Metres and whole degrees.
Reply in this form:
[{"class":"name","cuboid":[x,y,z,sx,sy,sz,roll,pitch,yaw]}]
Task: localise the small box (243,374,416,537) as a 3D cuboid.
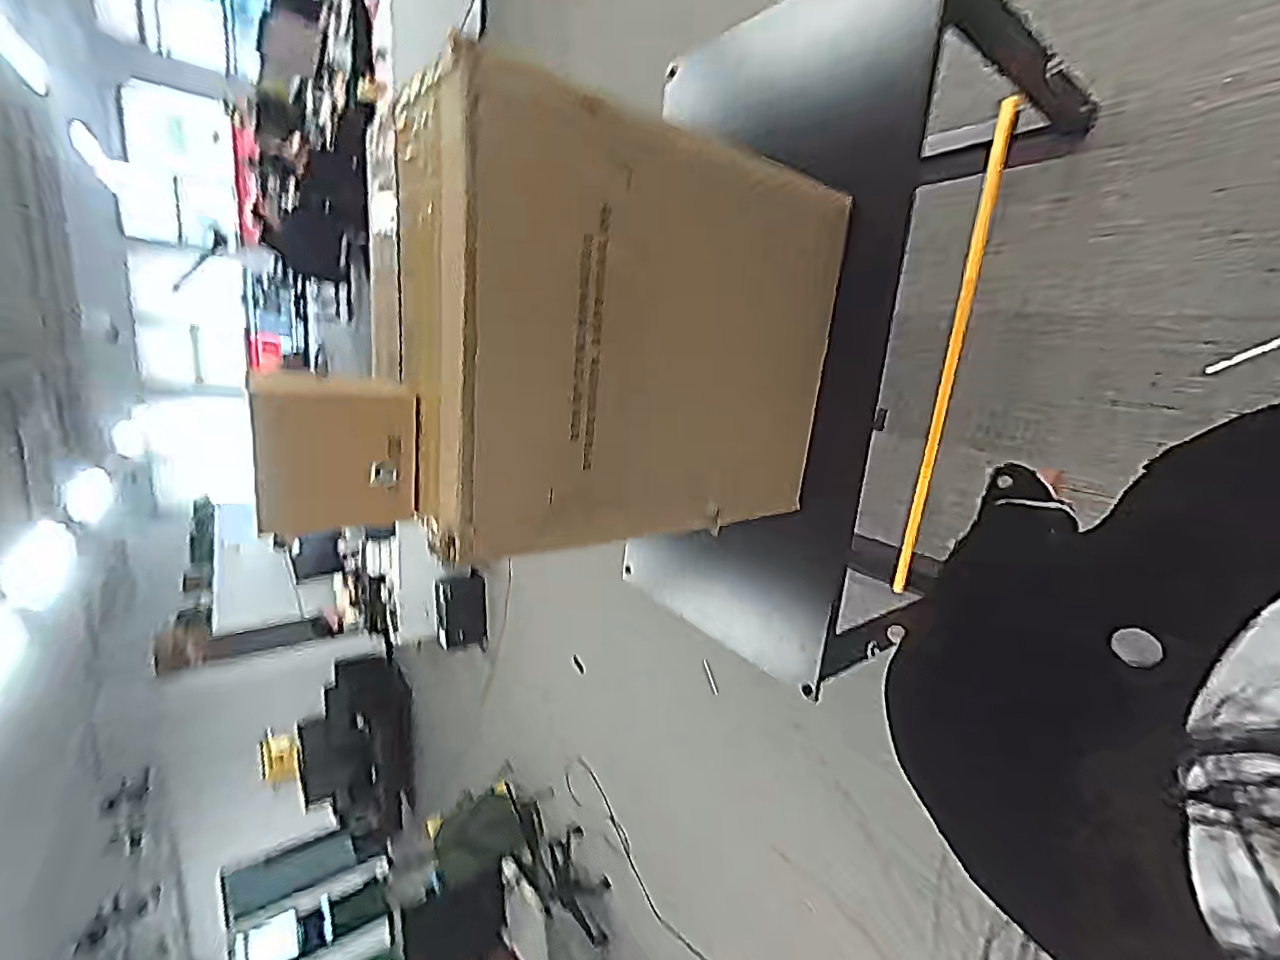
[{"class":"small box","cuboid":[-0.394,-0.039,0.686,0.179,0.176,0.168,22,112,50]}]
